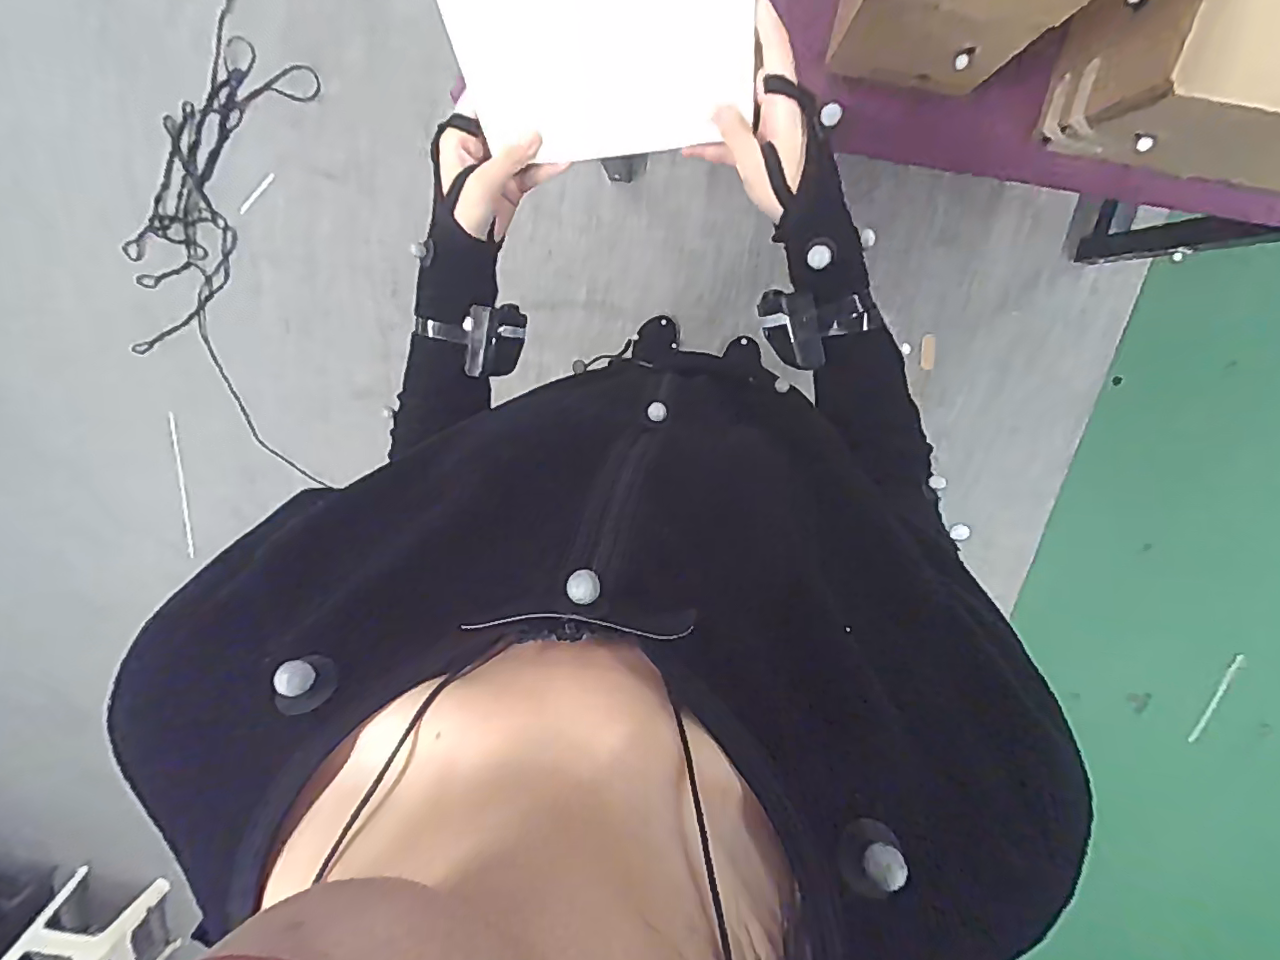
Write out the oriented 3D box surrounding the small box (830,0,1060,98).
[{"bbox_3d":[0.298,-0.504,0.517,0.168,0.176,0.179,11,105,1],"label":"small box"}]
